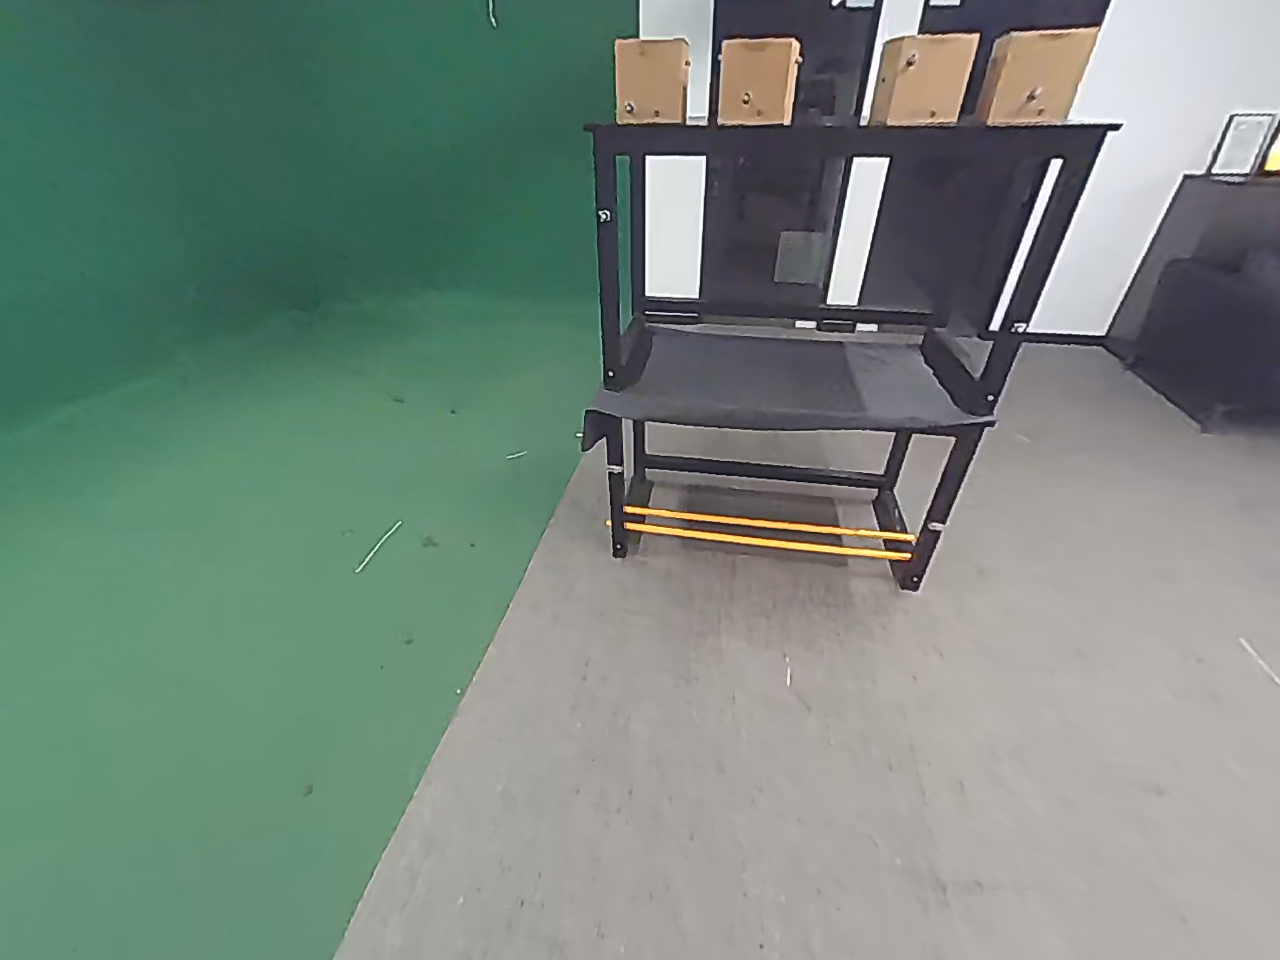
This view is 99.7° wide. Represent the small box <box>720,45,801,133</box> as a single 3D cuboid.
[{"bbox_3d":[0.300,-0.980,1.360,0.168,0.176,0.179,11,37,14],"label":"small box"}]

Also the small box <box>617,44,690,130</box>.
[{"bbox_3d":[0.039,-1.007,1.394,0.168,0.176,0.179,5,34,7],"label":"small box"}]
